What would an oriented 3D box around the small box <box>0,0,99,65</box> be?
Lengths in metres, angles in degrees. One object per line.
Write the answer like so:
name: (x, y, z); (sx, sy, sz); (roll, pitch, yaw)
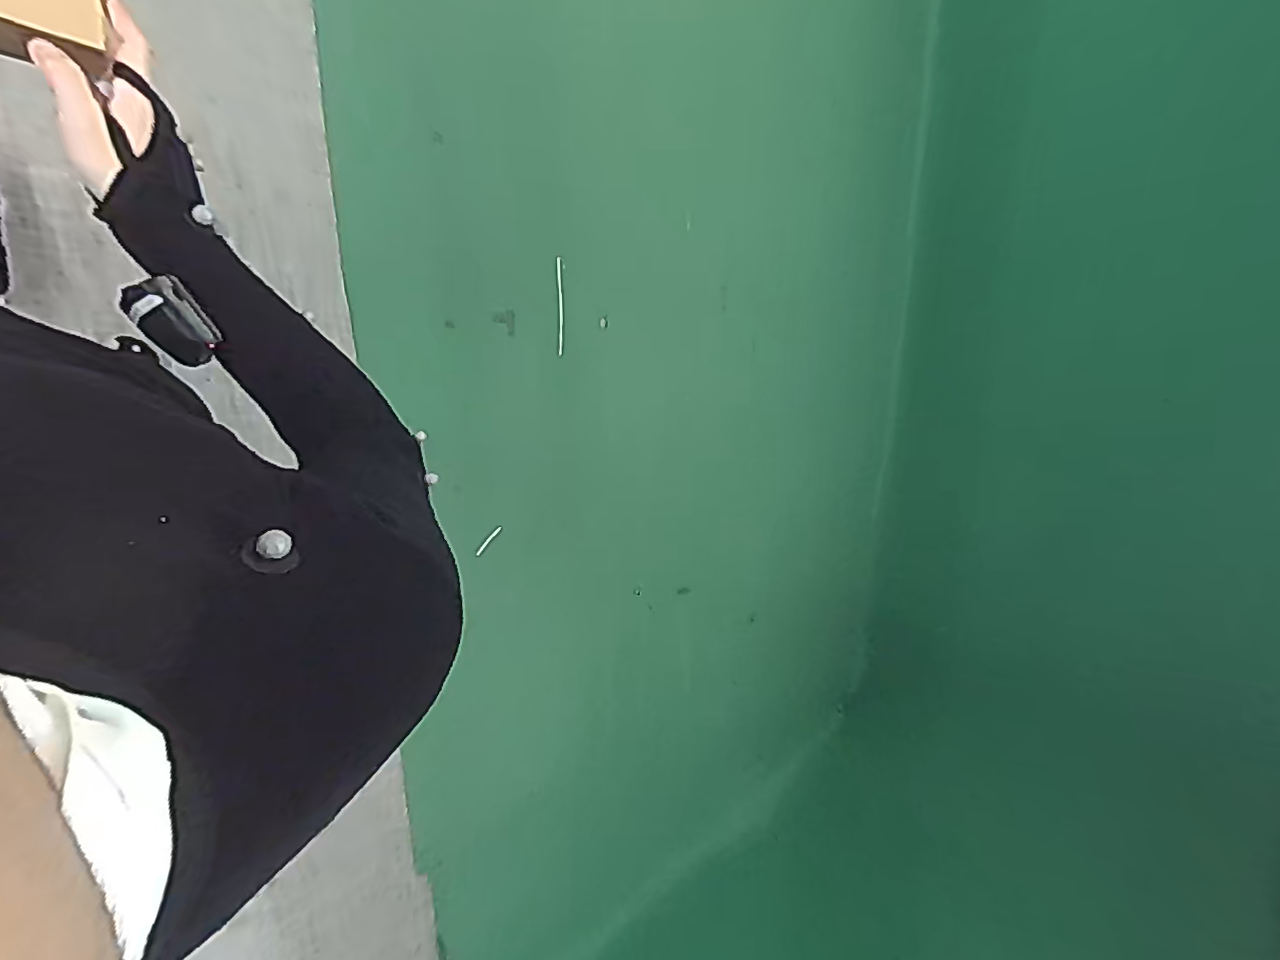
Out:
small box: (-0.494, -0.414, 0.362); (0.179, 0.176, 0.168); (-6, 115, -43)
